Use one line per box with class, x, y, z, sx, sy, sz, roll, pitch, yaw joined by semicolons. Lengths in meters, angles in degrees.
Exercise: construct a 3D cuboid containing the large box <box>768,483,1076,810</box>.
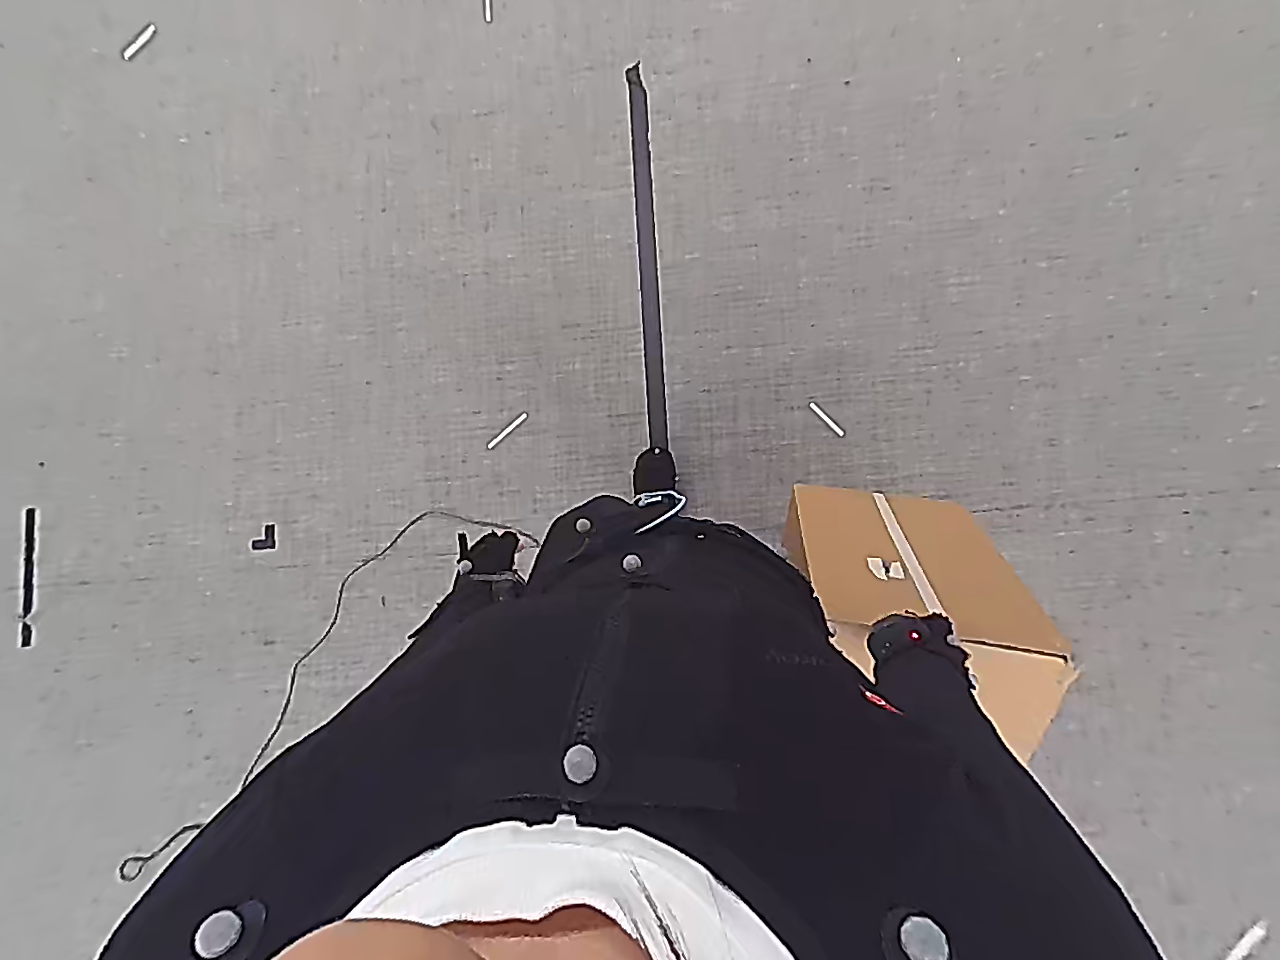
large box;0.405;0.247;0.917;0.320;0.408;0.320;7;117;8
